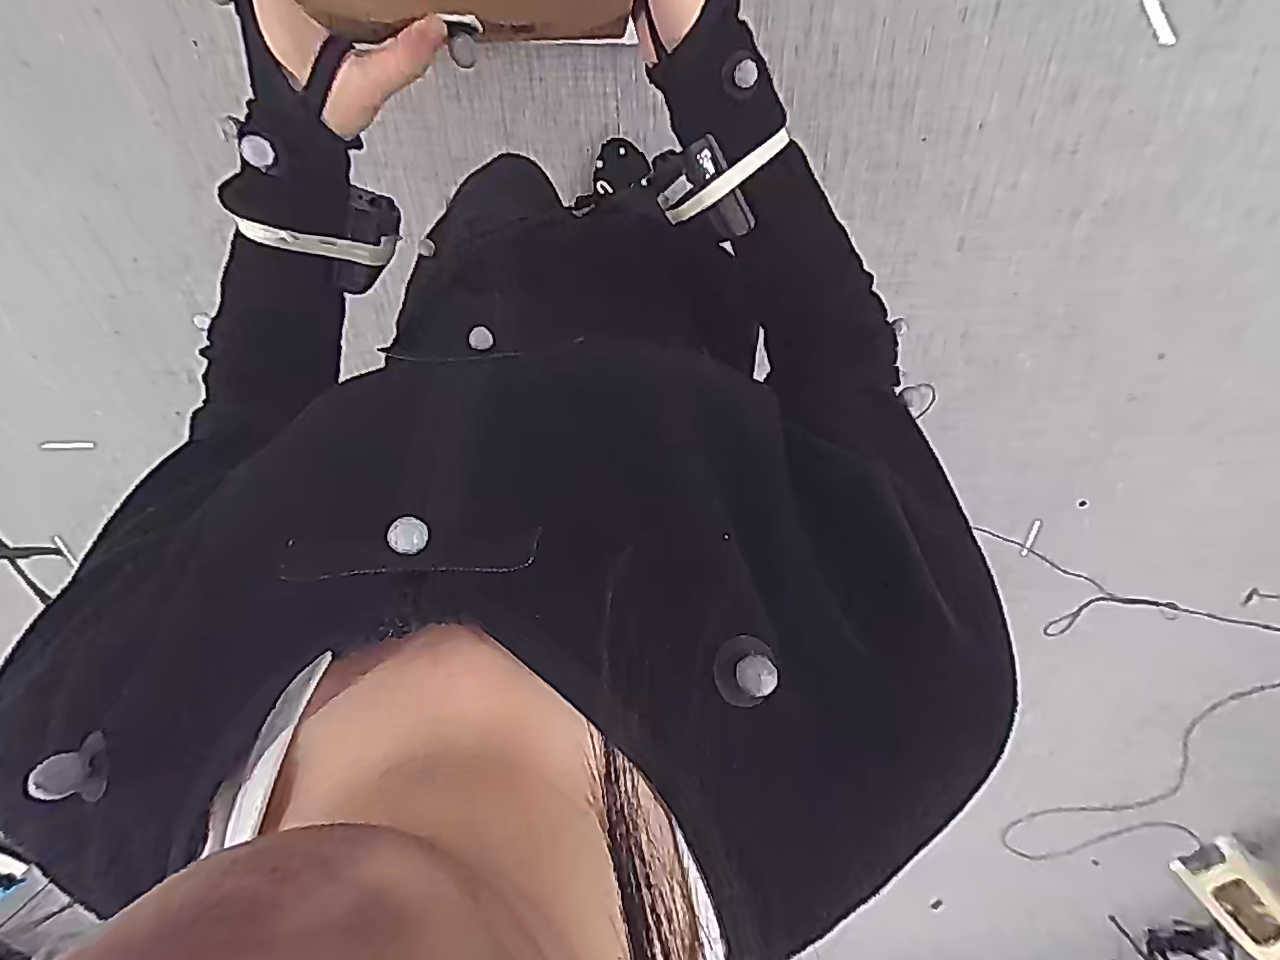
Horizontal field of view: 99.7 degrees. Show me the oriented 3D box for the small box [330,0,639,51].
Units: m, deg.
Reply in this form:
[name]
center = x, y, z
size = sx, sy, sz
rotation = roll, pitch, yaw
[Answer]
[small box]
center = -0.082, -0.309, 0.219
size = 0.168, 0.176, 0.179
rotation = -6, 116, -3
